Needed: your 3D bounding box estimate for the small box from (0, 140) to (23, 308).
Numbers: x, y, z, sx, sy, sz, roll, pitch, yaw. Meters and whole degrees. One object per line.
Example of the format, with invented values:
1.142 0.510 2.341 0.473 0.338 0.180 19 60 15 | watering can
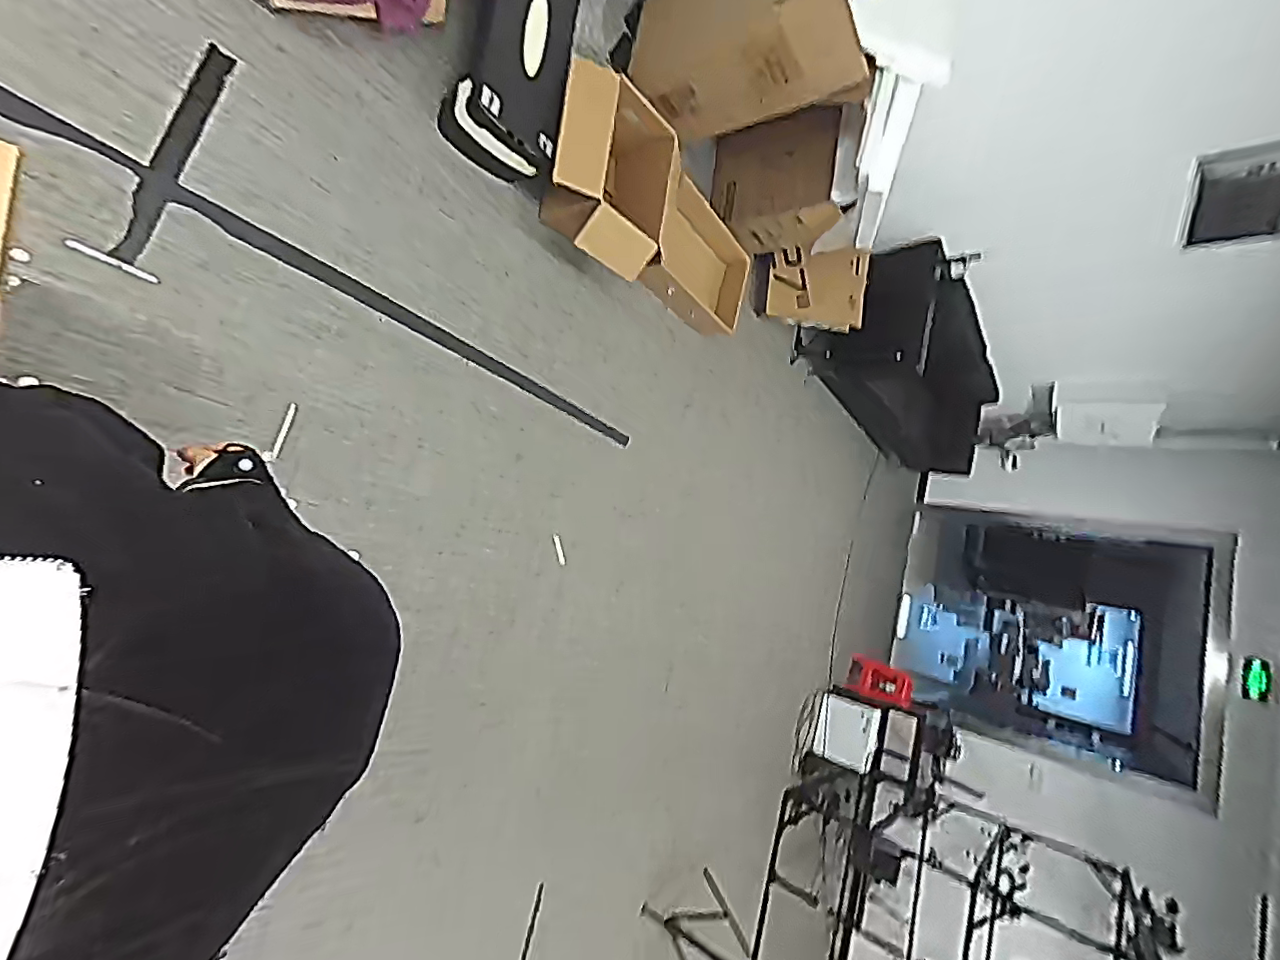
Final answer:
-0.769 -0.280 0.546 0.179 0.176 0.168 10 87 -49 | small box
